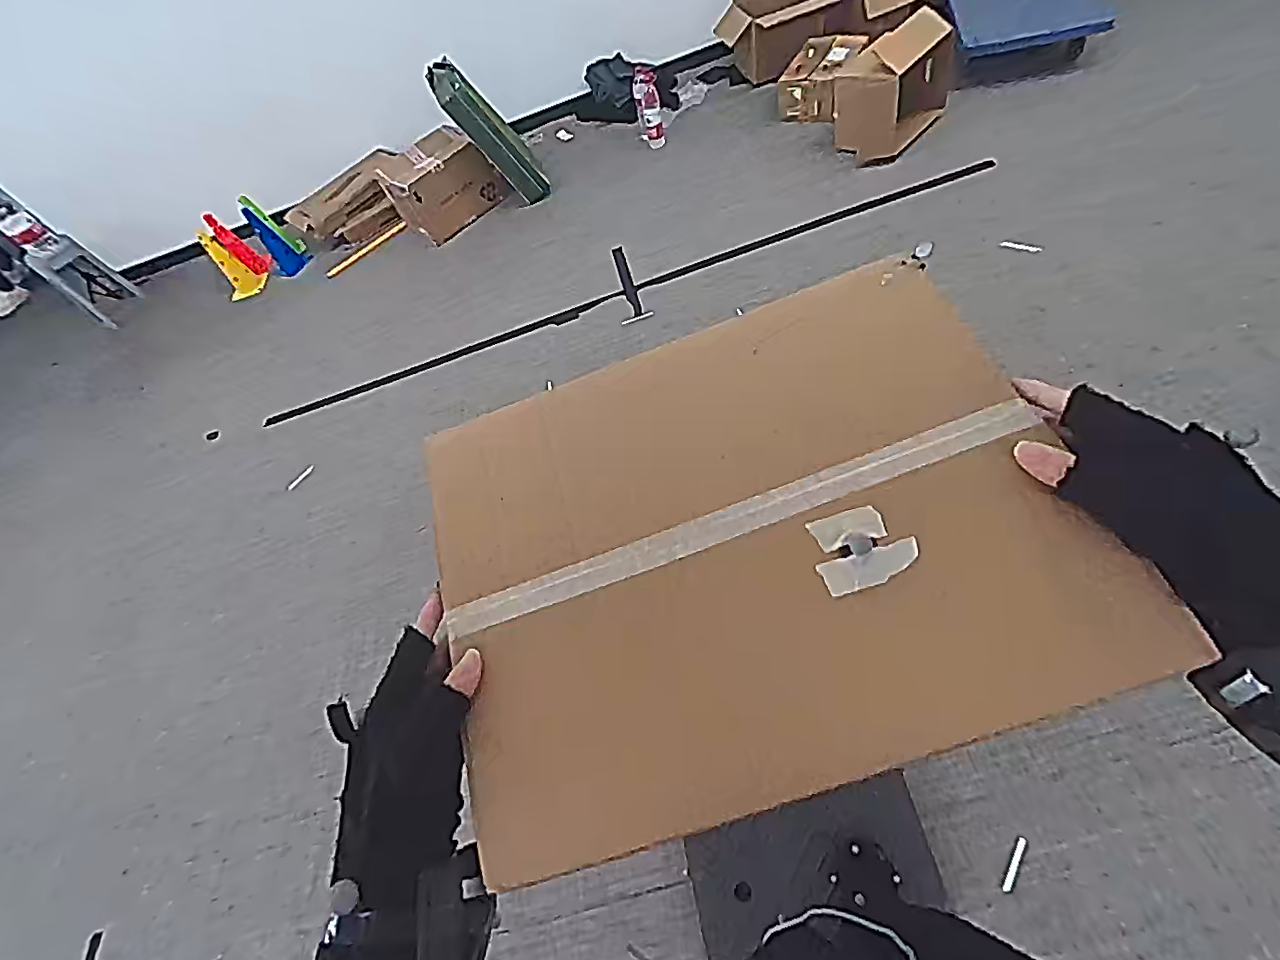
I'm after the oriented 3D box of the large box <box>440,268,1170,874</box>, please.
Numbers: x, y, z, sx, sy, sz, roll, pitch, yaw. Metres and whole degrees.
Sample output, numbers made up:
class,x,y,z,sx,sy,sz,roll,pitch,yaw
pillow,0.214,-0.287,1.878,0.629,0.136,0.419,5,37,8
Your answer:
class,x,y,z,sx,sy,sz,roll,pitch,yaw
large box,0.091,0.091,0.502,0.408,0.320,0.320,-21,64,3
